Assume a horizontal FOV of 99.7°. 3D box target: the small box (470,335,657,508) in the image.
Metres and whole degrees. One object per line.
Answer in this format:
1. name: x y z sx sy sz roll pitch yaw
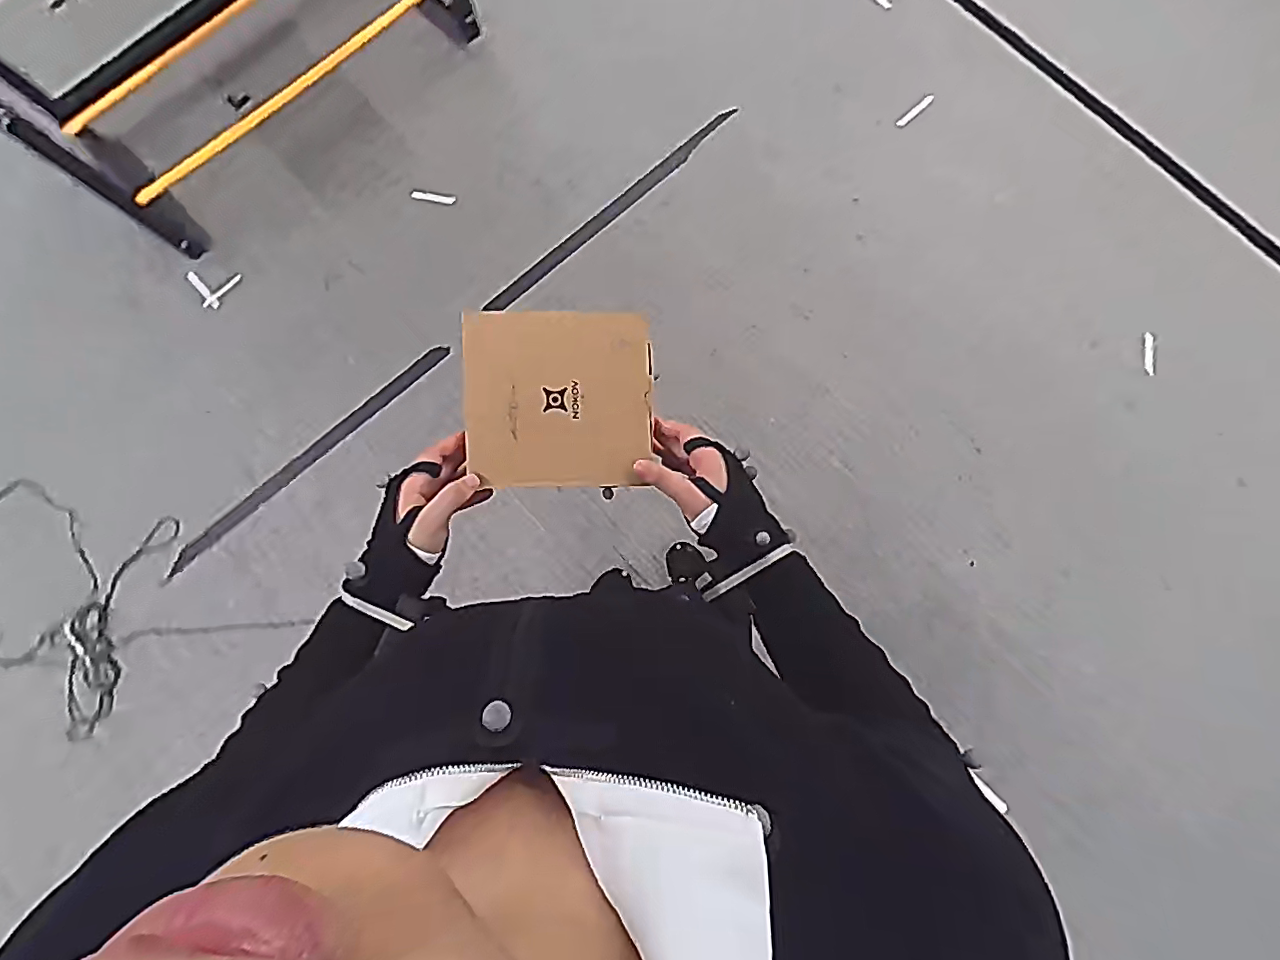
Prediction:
1. small box: -0.079 -0.058 0.601 0.179 0.176 0.168 -3 90 -3
